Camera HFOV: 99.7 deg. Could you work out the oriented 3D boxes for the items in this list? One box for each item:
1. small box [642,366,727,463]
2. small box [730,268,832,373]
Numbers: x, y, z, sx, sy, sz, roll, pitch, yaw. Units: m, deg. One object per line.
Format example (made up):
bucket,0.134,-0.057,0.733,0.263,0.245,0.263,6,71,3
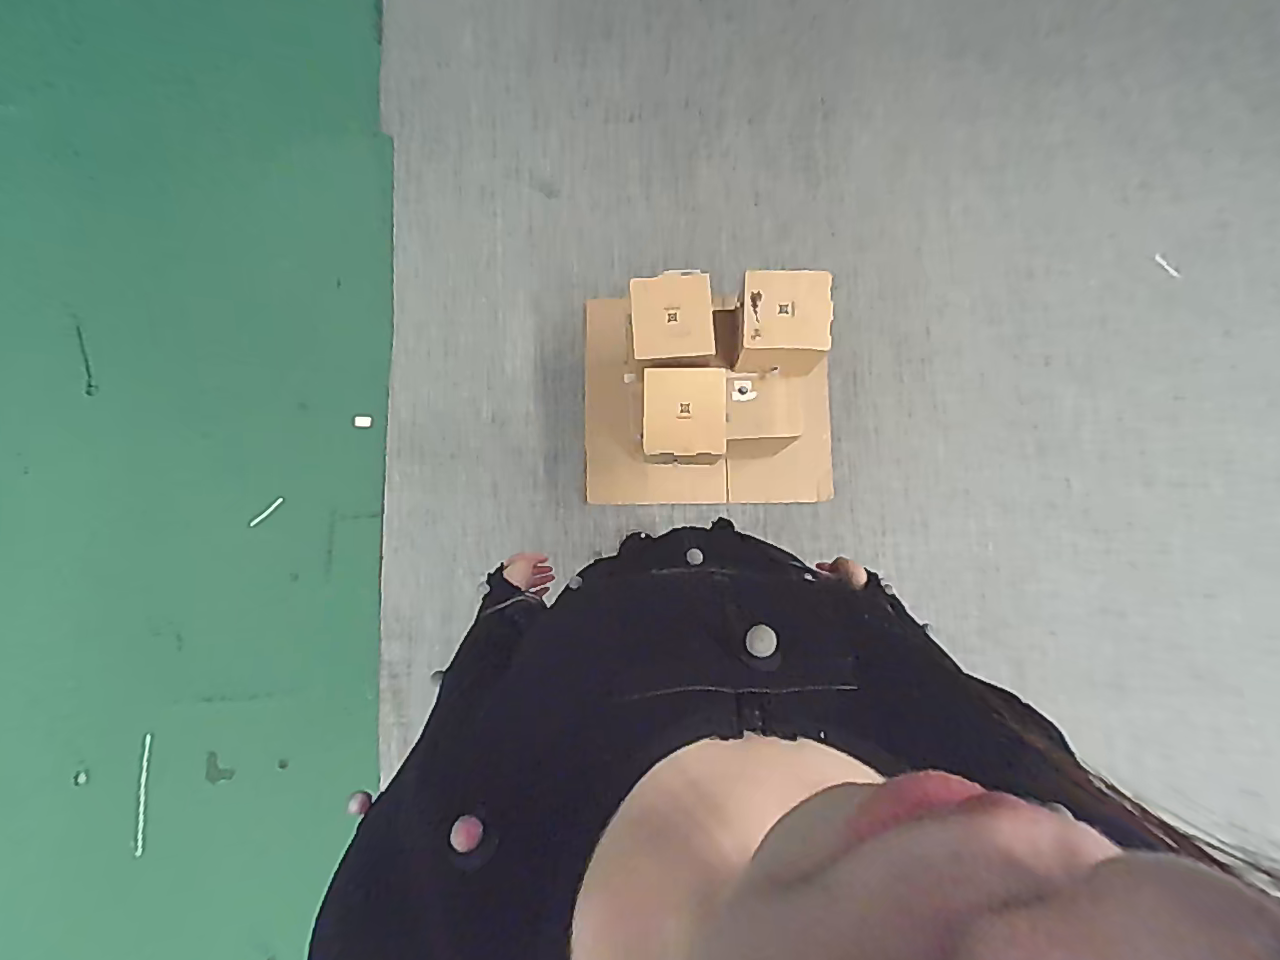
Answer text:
small box,0.089,-0.133,1.143,0.168,0.176,0.179,0,86,1
small box,0.296,-0.333,1.157,0.179,0.176,0.168,3,84,2
